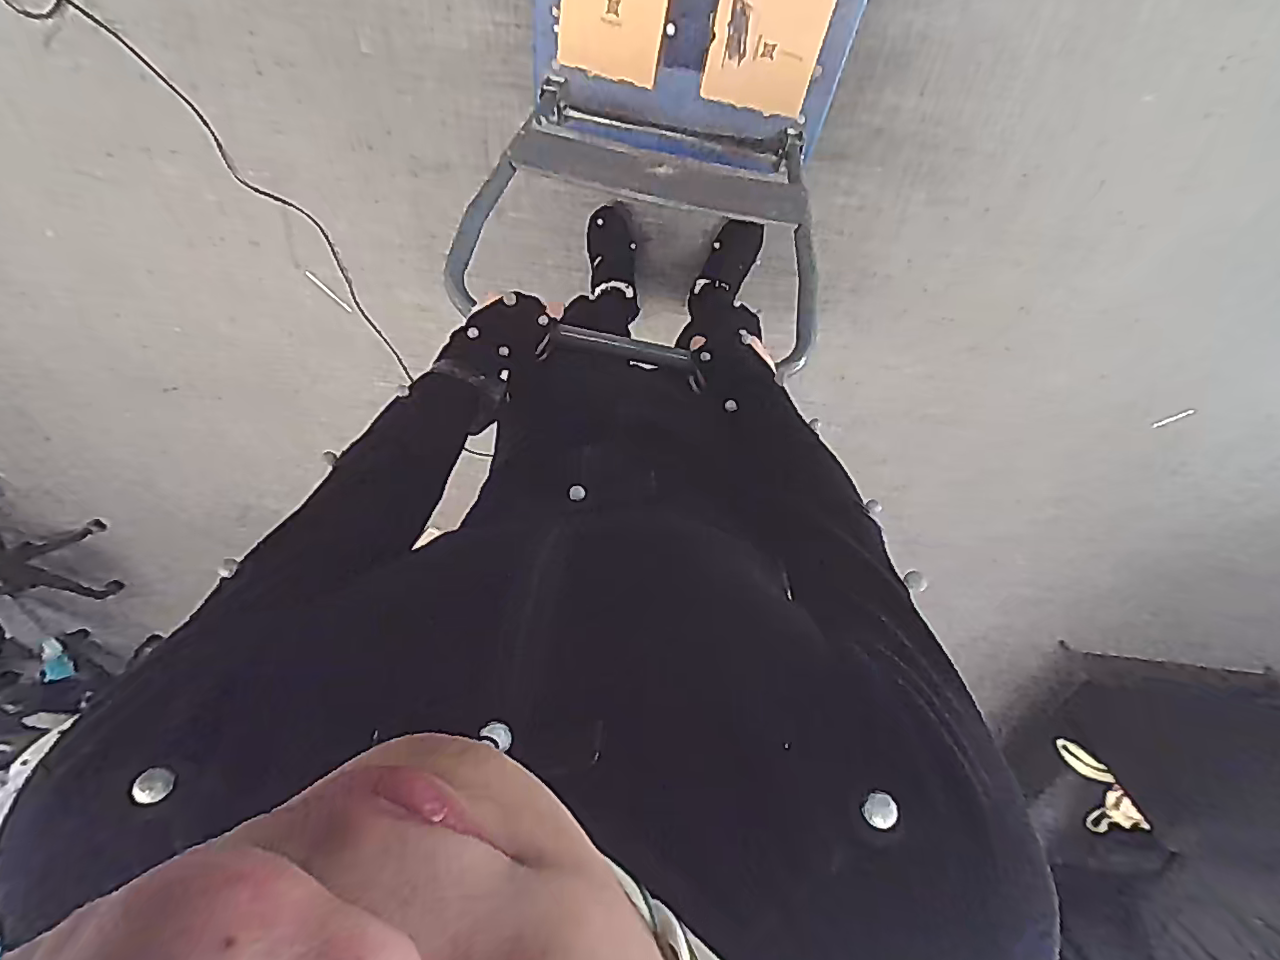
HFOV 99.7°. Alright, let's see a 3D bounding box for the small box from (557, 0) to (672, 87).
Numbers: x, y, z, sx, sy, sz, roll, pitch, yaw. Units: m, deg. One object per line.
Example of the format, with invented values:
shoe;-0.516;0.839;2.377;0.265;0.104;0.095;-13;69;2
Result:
small box;-0.034;-0.794;0.890;0.168;0.176;0.179;13;140;-5
